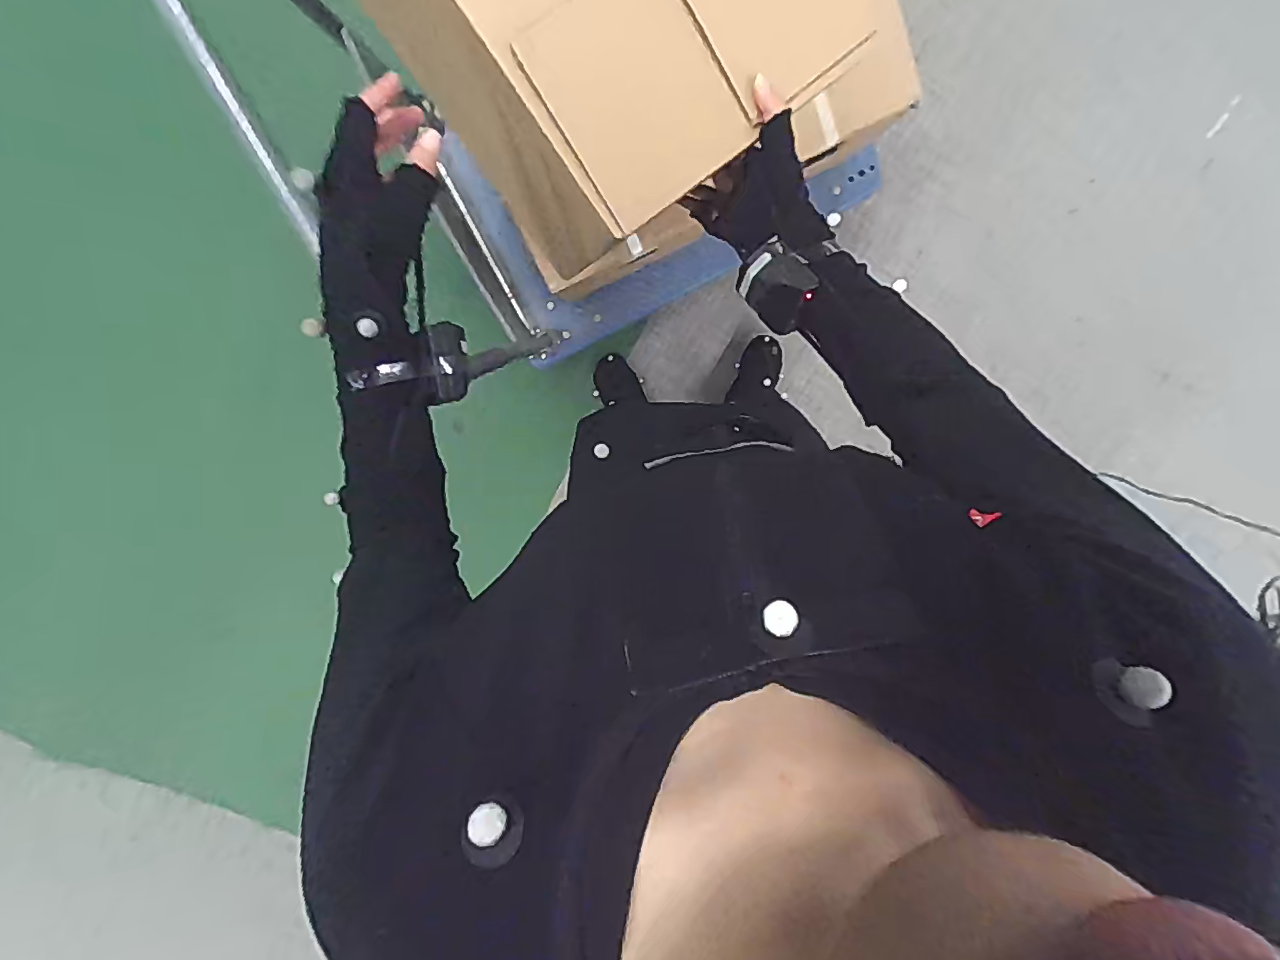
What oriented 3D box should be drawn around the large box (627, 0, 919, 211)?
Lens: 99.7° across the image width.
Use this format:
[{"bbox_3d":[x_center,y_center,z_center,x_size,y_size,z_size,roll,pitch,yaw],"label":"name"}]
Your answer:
[{"bbox_3d":[0.203,-0.757,0.938,0.320,0.320,0.408,-25,106,4],"label":"large box"}]
